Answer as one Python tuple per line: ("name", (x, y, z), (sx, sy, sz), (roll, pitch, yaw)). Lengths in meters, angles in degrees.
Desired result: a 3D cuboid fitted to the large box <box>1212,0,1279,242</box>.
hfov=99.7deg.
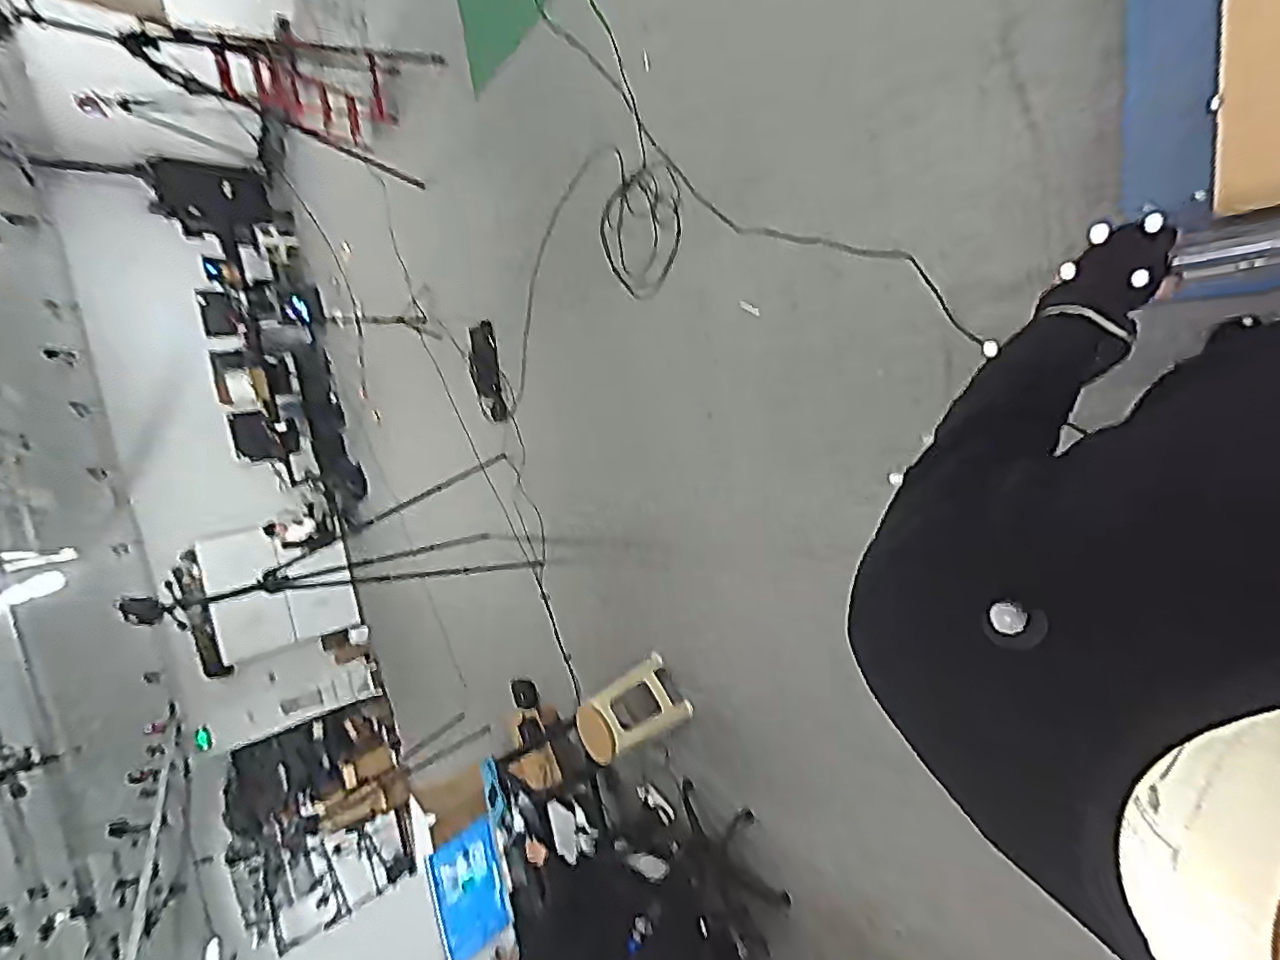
("large box", (1.040, -0.597, 0.750), (0.320, 0.320, 0.408), (3, 102, 50))
